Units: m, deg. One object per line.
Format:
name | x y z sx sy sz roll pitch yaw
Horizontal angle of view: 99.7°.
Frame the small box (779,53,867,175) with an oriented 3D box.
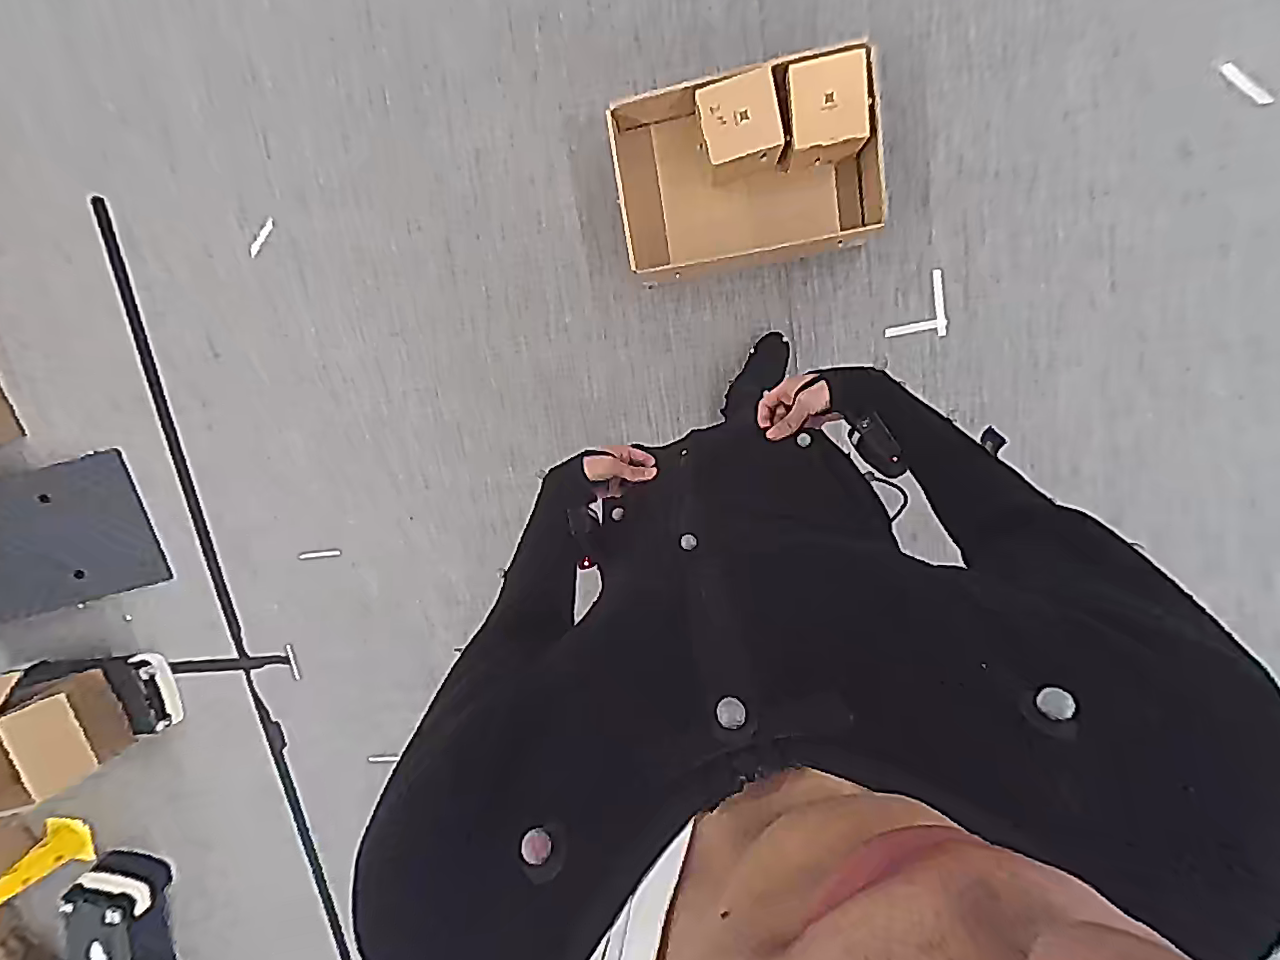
small box | 0.428 -0.857 1.283 0.168 0.176 0.179 -7 104 10
